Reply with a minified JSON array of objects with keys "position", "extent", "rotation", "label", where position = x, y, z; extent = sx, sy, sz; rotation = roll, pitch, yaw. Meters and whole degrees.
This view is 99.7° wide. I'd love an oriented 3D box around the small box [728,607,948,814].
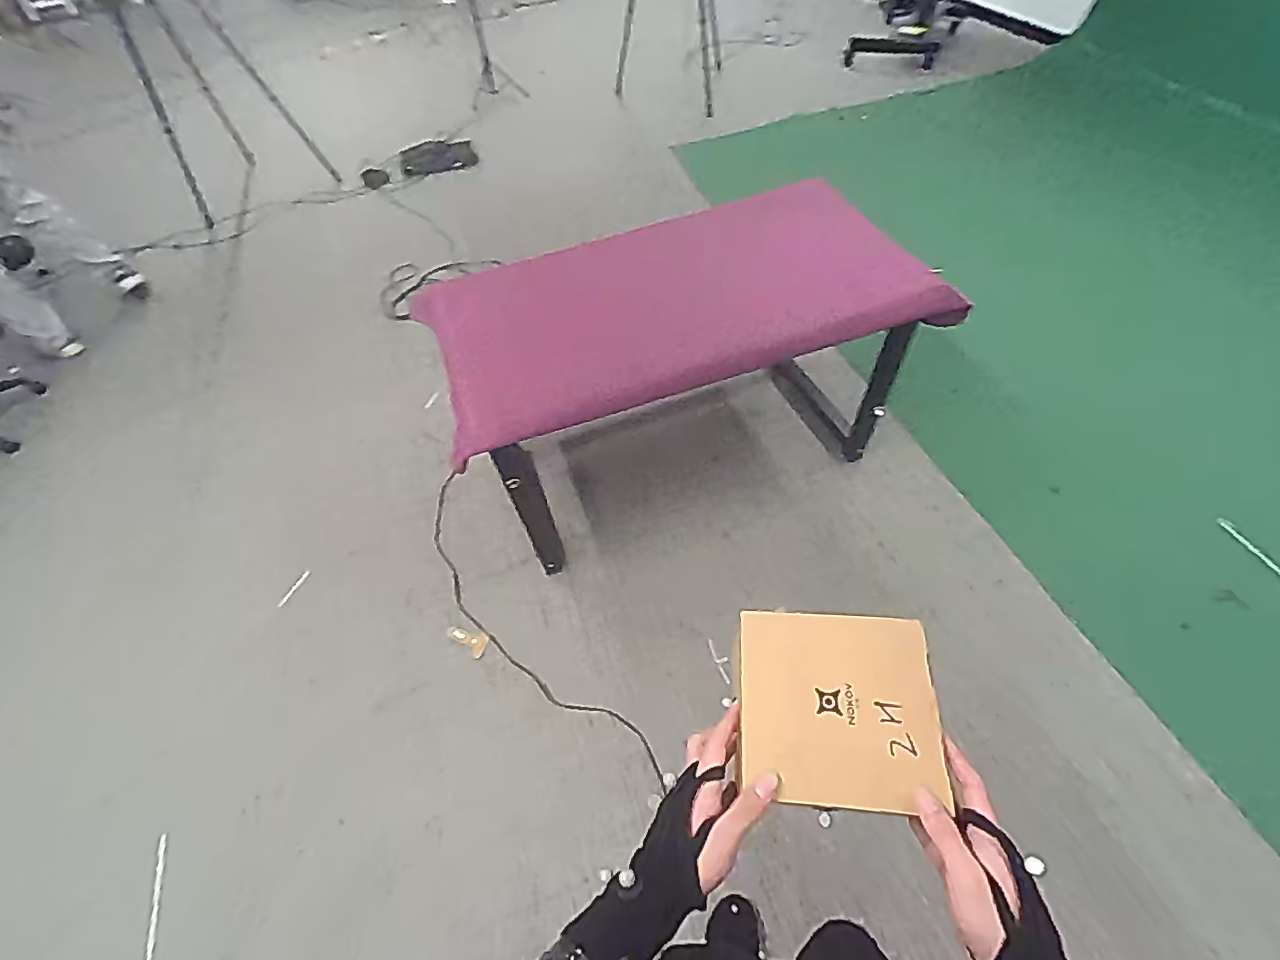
[{"position":[0.181,0.240,0.557],"extent":[0.179,0.176,0.168],"rotation":[1,60,7],"label":"small box"}]
